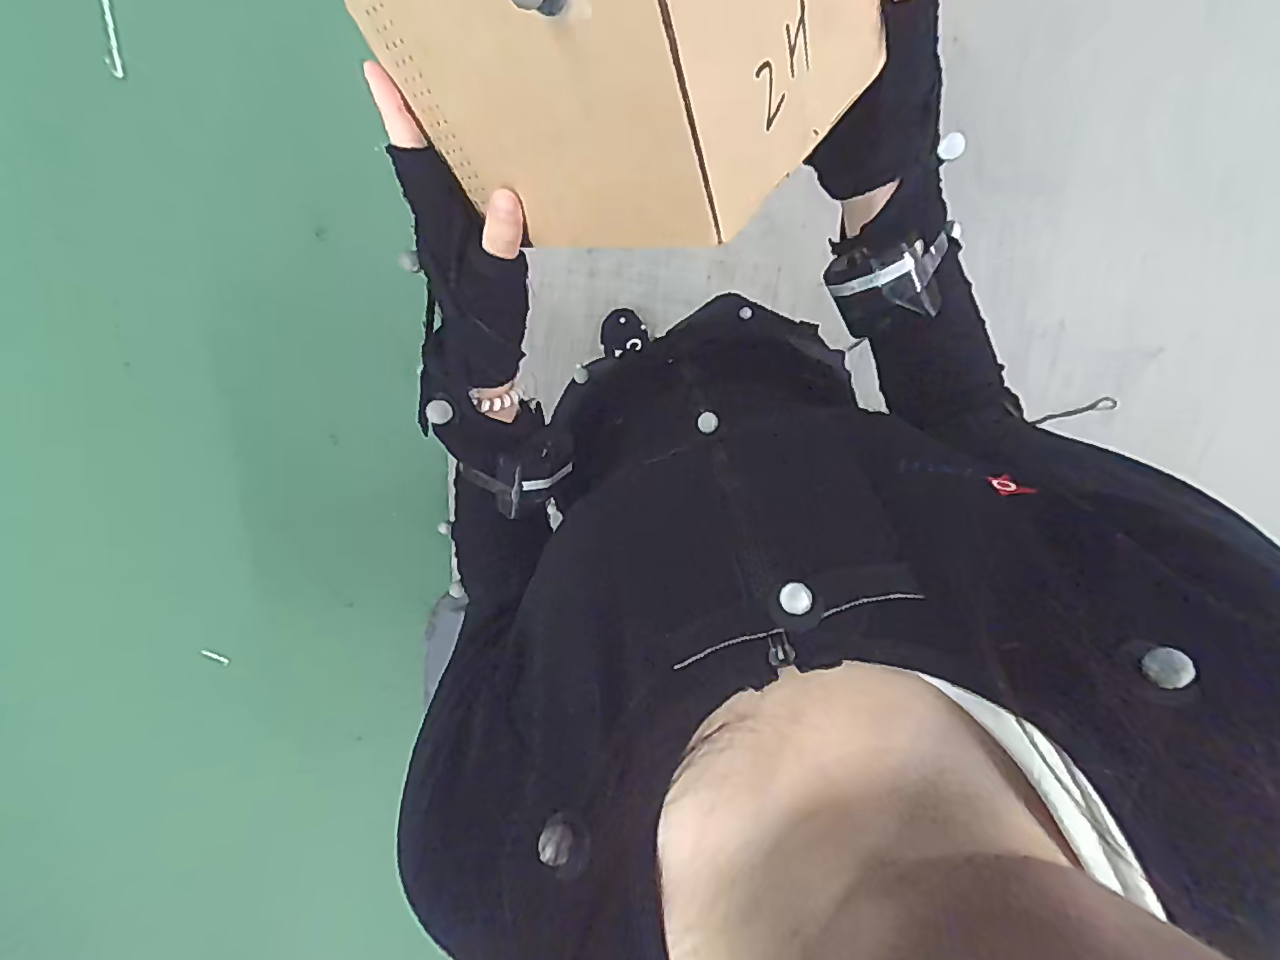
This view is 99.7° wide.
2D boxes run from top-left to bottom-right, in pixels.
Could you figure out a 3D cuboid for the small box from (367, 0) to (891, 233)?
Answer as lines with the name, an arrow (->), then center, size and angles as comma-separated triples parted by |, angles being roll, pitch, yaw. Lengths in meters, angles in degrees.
small box -> -0.008, -0.230, 0.238 | 0.168, 0.176, 0.179 | -51, 139, -23
